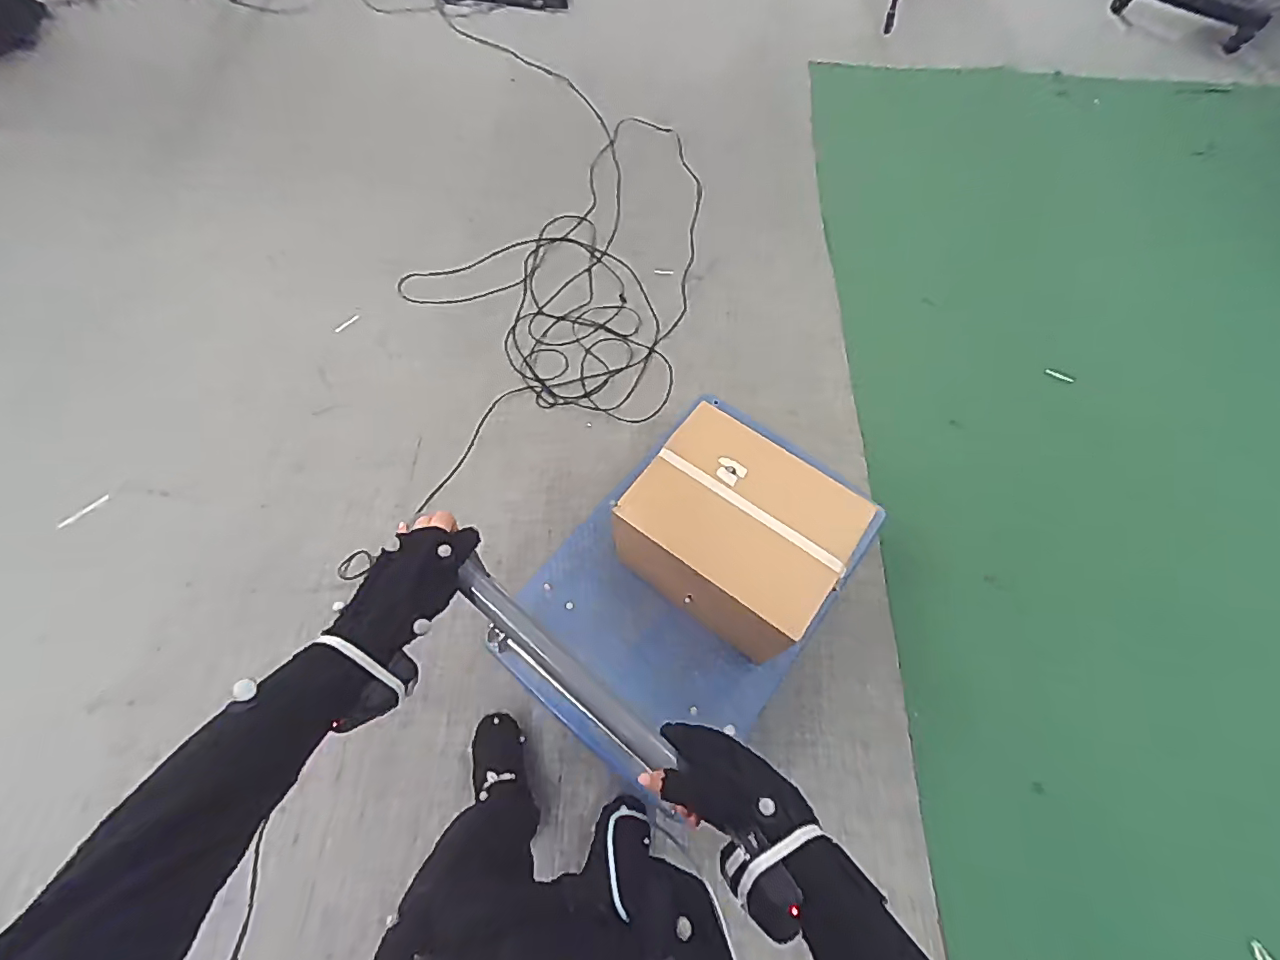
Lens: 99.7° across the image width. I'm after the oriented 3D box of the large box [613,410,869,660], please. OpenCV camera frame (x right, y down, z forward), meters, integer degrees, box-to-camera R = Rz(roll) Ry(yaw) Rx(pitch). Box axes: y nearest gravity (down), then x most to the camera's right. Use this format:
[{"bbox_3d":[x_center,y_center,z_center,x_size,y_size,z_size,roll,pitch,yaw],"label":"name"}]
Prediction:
[{"bbox_3d":[0.197,0.128,1.168,0.408,0.320,0.320,34,68,15],"label":"large box"}]
